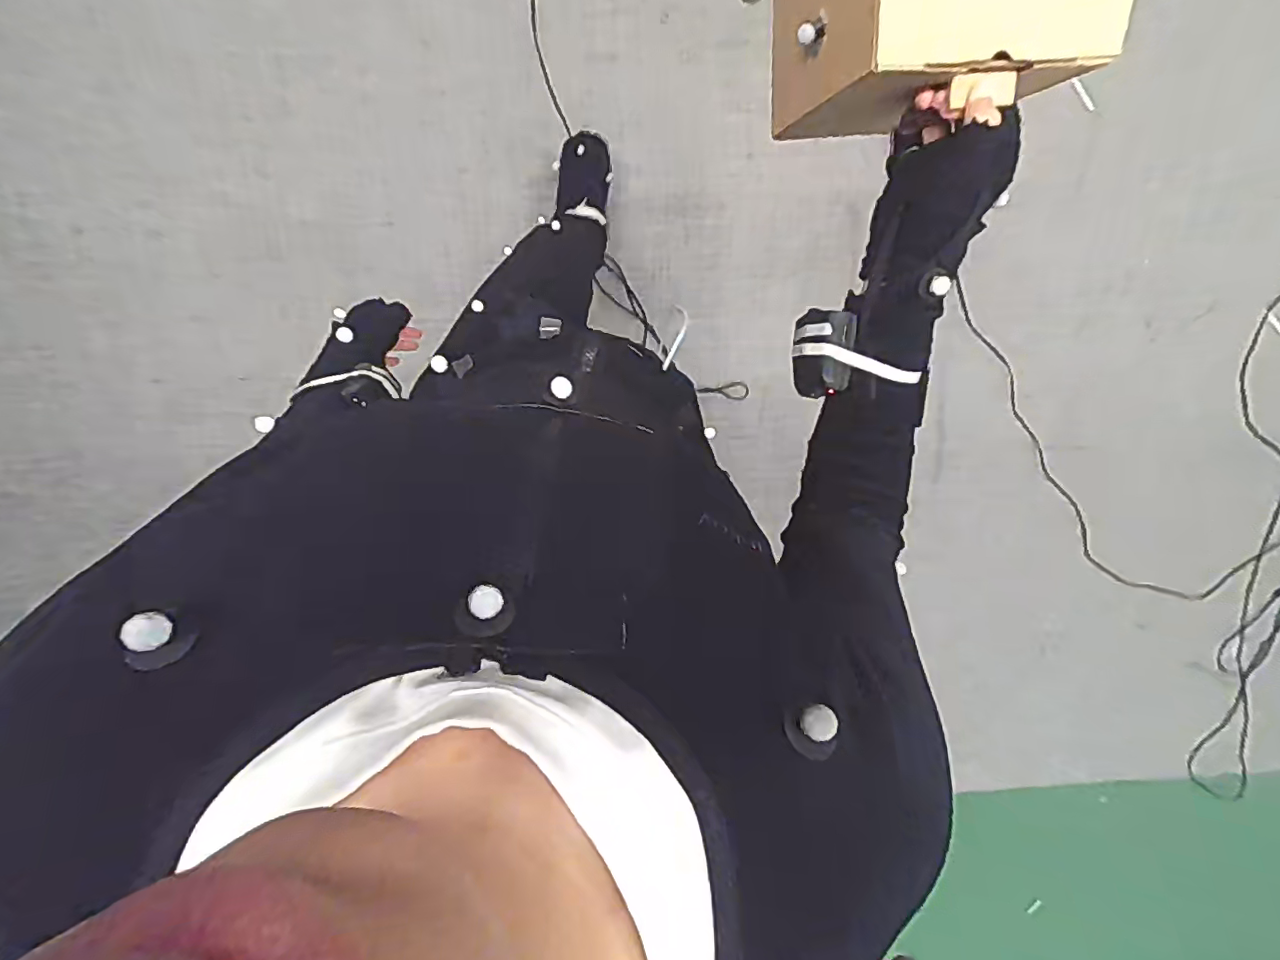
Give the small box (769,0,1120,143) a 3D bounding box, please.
[{"bbox_3d":[0.199,-0.354,0.382,0.168,0.176,0.179,-7,110,-6],"label":"small box"}]
